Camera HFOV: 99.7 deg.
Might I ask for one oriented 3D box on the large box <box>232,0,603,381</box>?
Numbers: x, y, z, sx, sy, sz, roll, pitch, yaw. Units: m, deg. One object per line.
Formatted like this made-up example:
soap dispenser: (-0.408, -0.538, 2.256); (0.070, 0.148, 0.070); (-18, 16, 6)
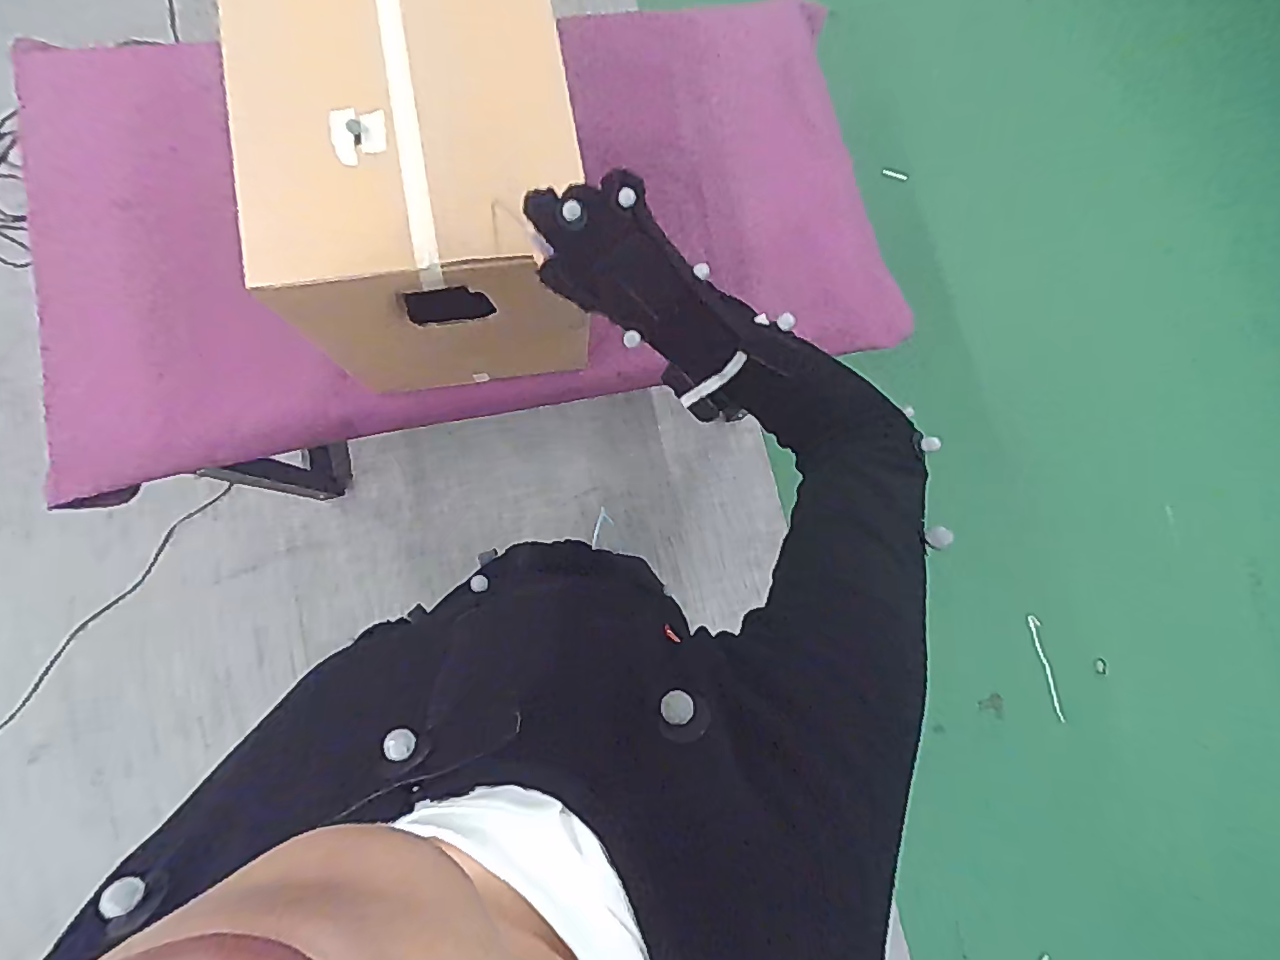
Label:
large box: (-0.244, -0.376, 0.675); (0.320, 0.320, 0.408); (-9, 84, -9)
